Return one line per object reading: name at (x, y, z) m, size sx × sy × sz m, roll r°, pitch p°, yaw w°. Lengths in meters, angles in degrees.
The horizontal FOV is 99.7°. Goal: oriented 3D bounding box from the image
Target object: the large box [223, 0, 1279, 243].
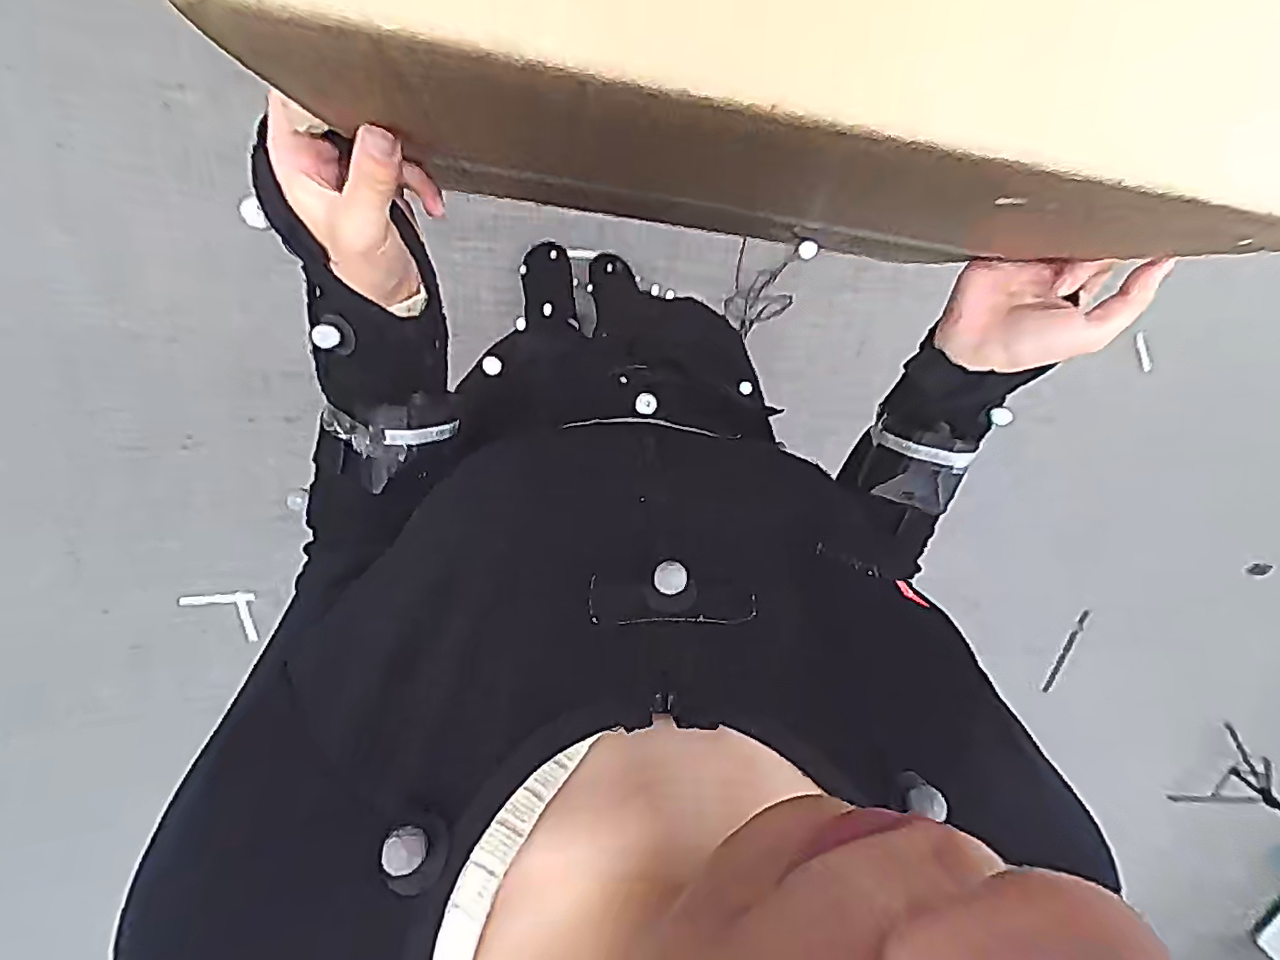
large box at (0.073, -0.305, 0.242) m, size 0.408 × 0.320 × 0.320 m, roll 3°, pitch 111°, yaw -11°
